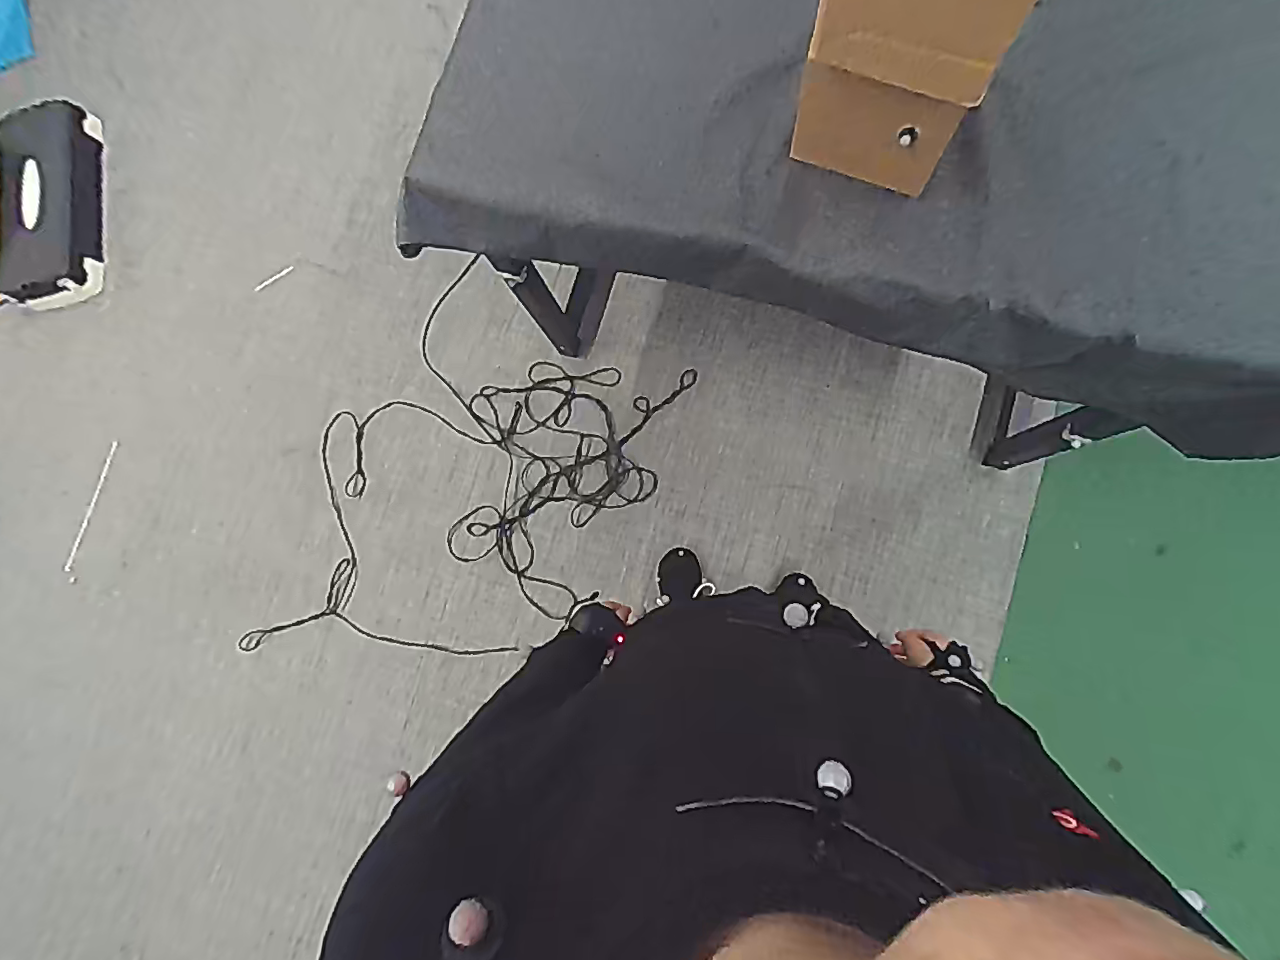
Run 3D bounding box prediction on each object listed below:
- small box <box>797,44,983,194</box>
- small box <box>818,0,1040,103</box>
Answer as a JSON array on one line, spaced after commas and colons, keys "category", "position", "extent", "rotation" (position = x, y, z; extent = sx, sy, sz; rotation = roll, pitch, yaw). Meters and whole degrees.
[{"category": "small box", "position": [0.304, -0.472, 0.630], "extent": [0.179, 0.176, 0.168], "rotation": [24, 84, 11]}, {"category": "small box", "position": [0.276, -0.477, 0.469], "extent": [0.179, 0.176, 0.168], "rotation": [26, 85, 10]}]
